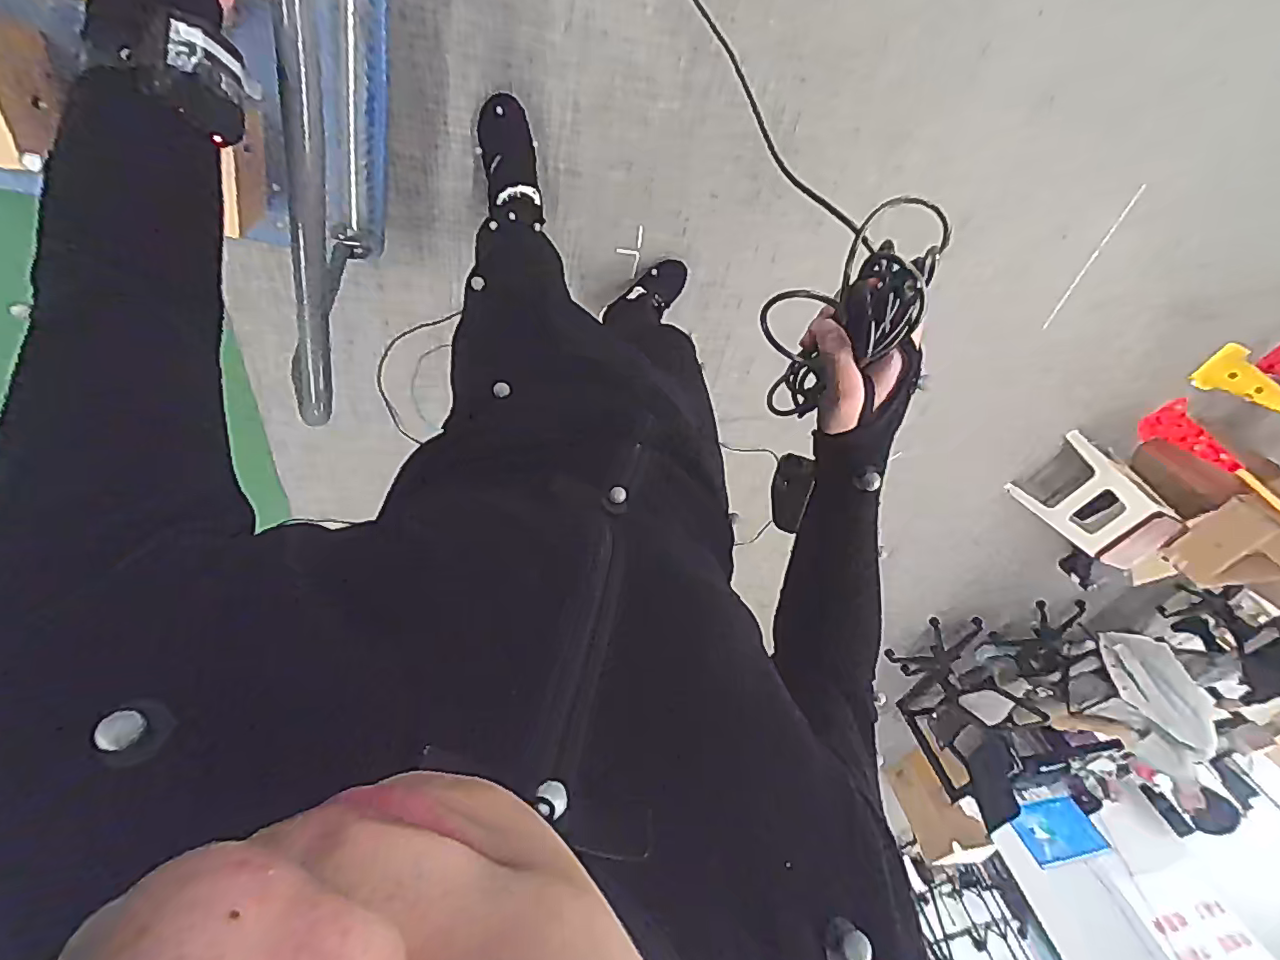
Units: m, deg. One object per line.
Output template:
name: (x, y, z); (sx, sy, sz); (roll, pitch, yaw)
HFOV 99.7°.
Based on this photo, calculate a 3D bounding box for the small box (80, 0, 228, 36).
small box: (-0.696, -0.737, 0.731); (0.179, 0.176, 0.168); (5, 130, -23)

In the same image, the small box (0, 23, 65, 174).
small box: (-1.003, -0.573, 0.786); (0.179, 0.176, 0.168); (2, 131, -20)
